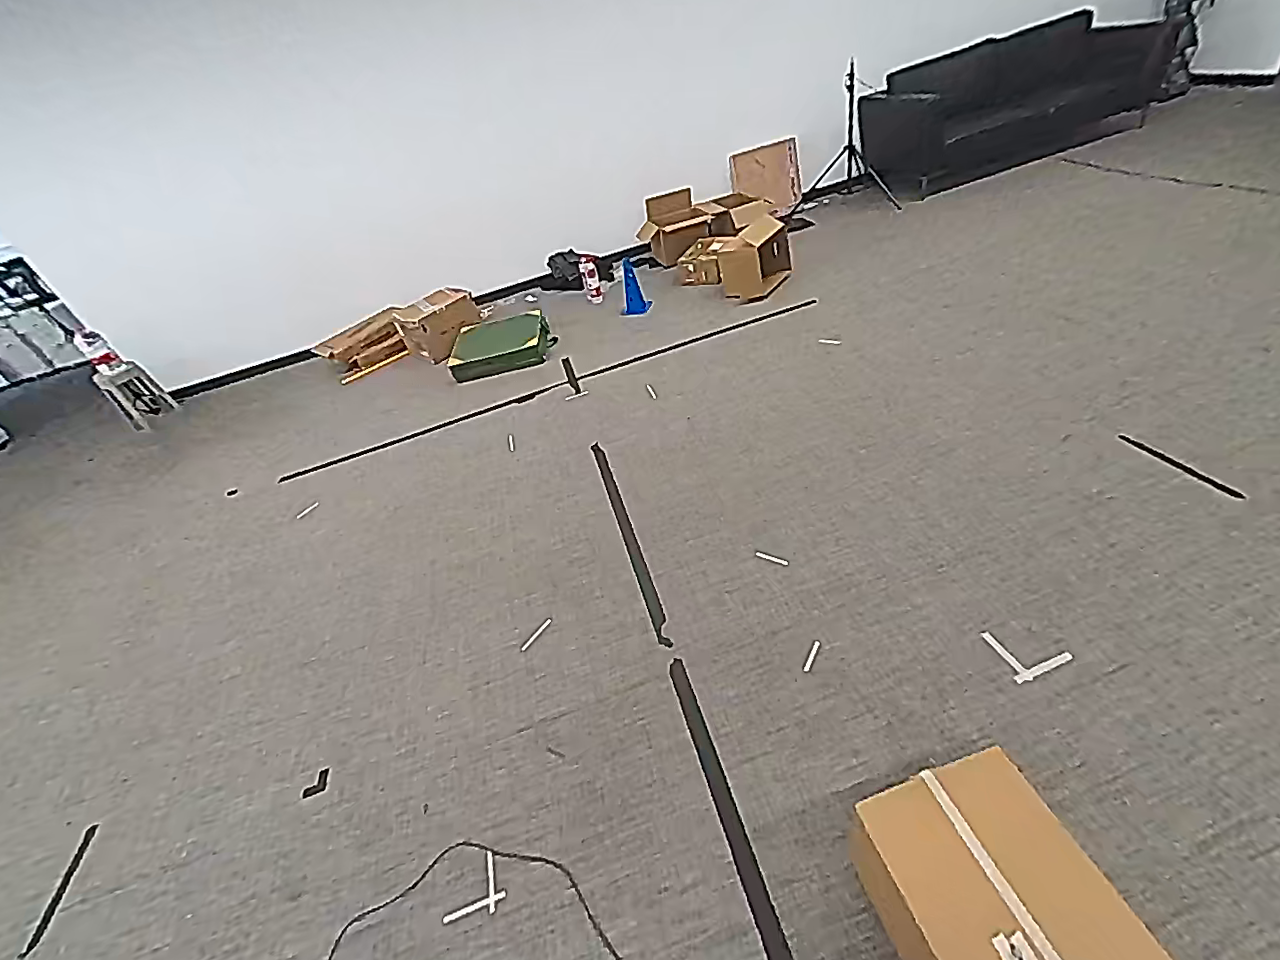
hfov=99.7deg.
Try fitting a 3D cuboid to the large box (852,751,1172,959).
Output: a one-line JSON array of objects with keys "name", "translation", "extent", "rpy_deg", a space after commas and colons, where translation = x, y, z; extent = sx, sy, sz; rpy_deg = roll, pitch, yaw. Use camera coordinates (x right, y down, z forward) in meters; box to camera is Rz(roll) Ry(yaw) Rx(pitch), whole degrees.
[{"name": "large box", "translation": [0.638, 0.797, 0.981], "extent": [0.320, 0.320, 0.408], "rpy_deg": [-20, 39, -4]}]
